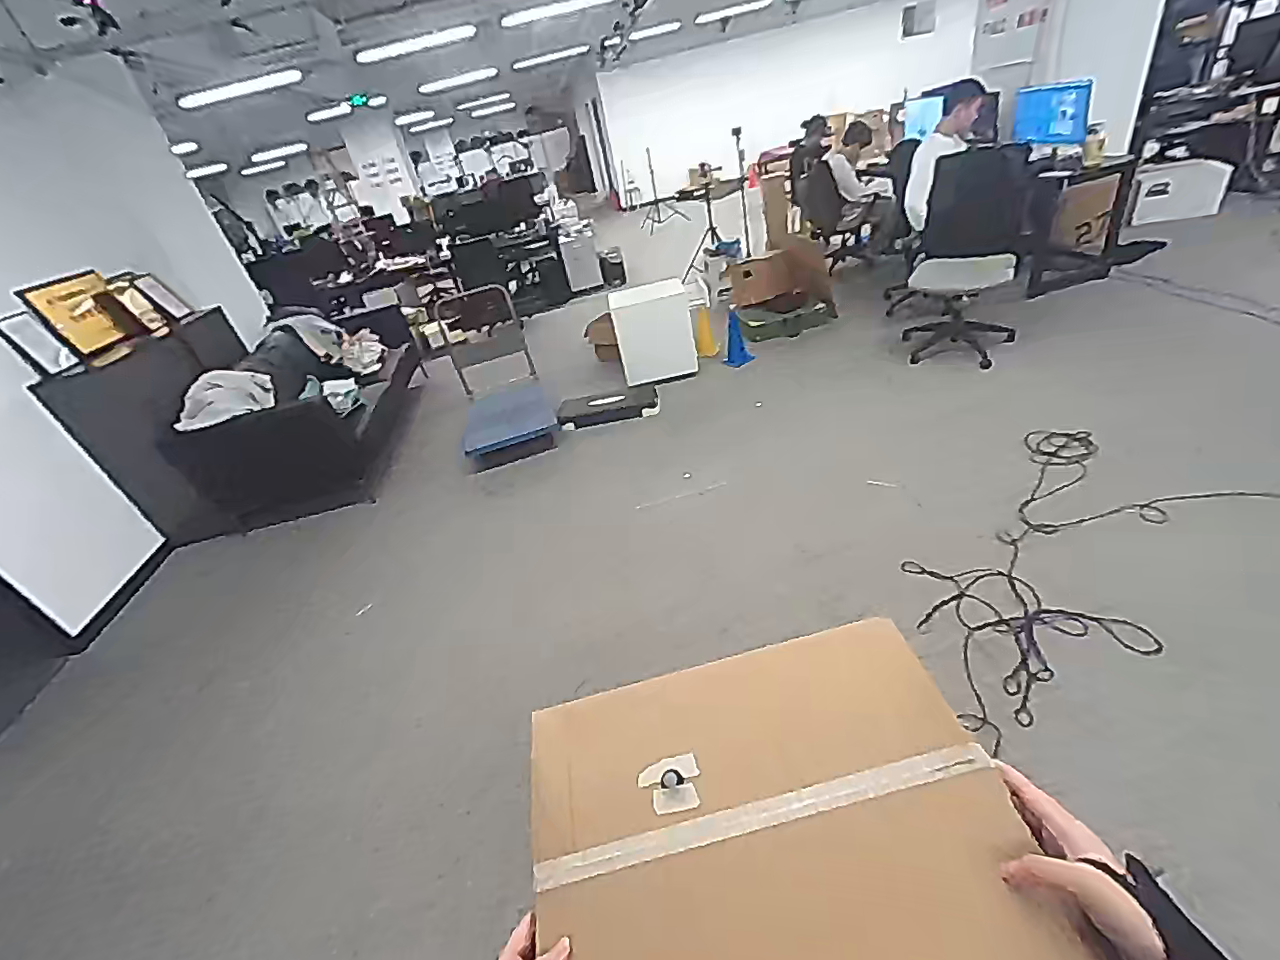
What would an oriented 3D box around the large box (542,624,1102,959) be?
[{"bbox_3d":[0.144,0.415,0.574,0.408,0.320,0.320,-17,39,2],"label":"large box"}]
